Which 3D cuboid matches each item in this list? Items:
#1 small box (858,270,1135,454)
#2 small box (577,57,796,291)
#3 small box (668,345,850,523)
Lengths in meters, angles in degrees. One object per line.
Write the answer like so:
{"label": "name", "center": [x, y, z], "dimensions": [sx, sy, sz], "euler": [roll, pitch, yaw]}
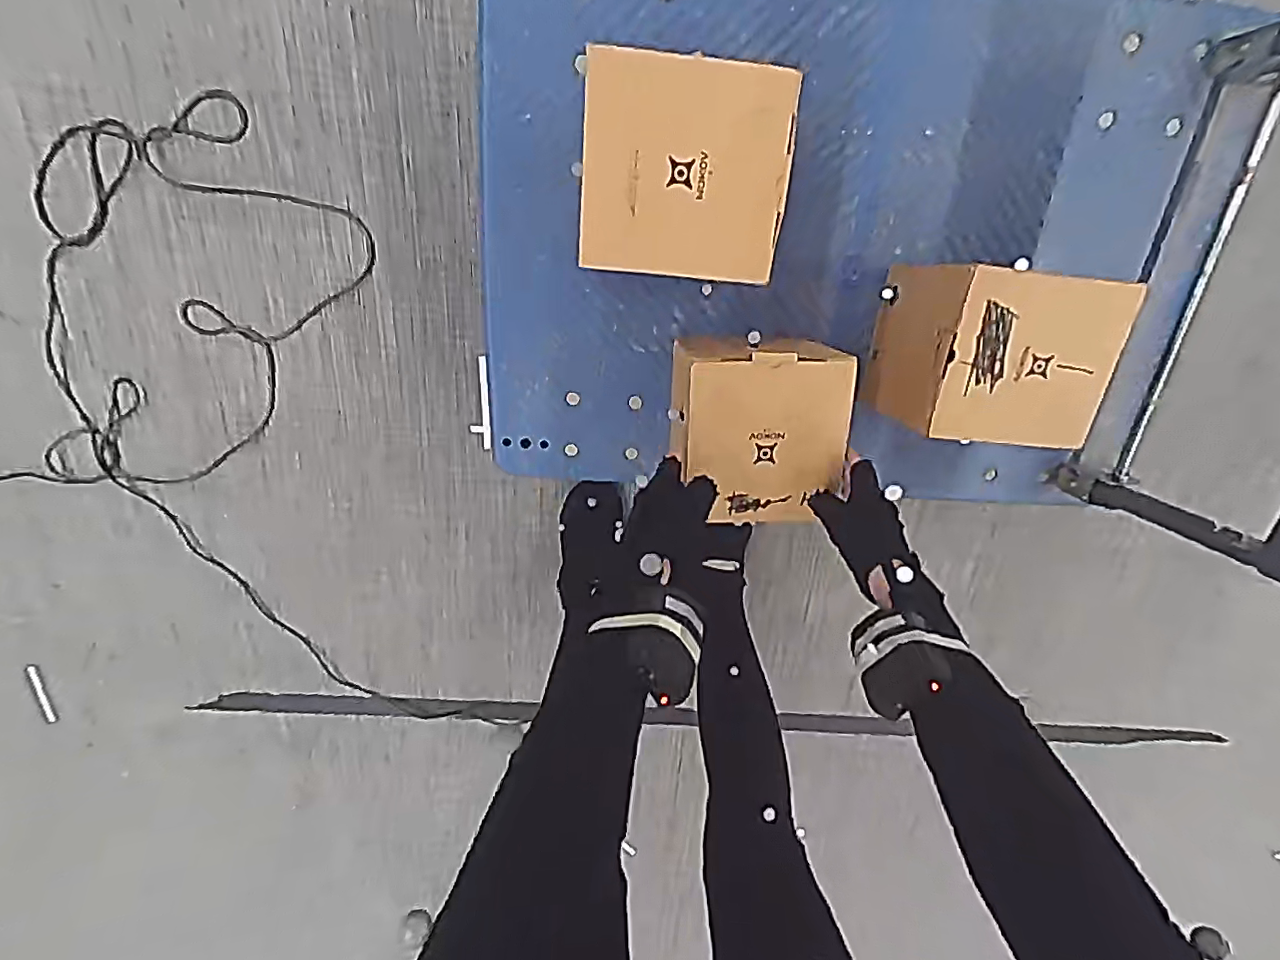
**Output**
{"label": "small box", "center": [0.374, -0.139, 0.610], "dimensions": [0.179, 0.176, 0.168], "euler": [5, 111, -5]}
{"label": "small box", "center": [0.033, -0.285, 0.539], "dimensions": [0.179, 0.176, 0.168], "euler": [4, 110, -3]}
{"label": "small box", "center": [0.122, -0.062, 0.629], "dimensions": [0.168, 0.176, 0.179], "euler": [0, 110, -2]}
